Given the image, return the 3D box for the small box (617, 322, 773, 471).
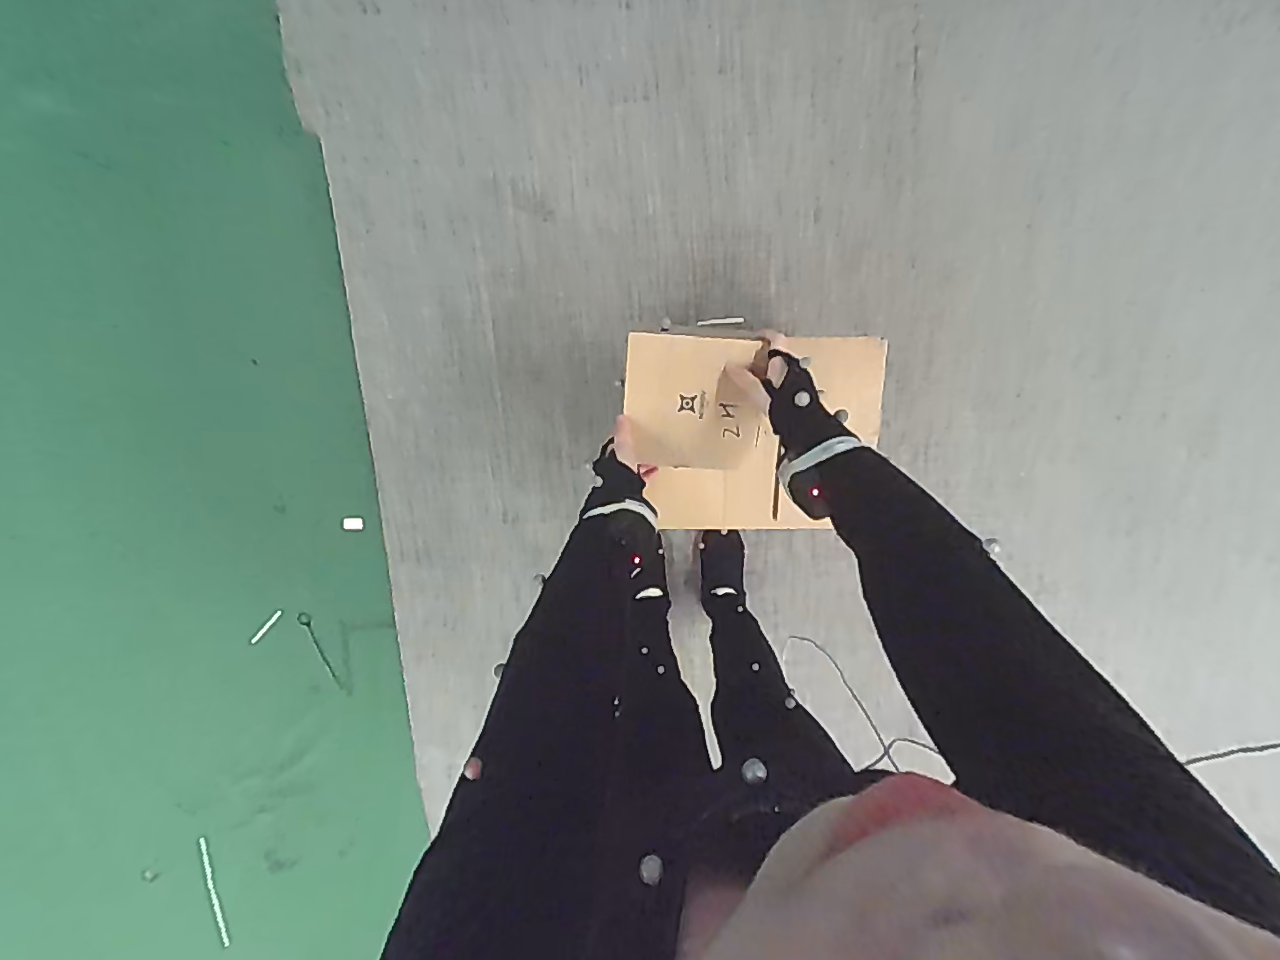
[{"bbox_3d":[0.063,-0.122,0.742,0.179,0.176,0.168,4,111,-4],"label":"small box"}]
